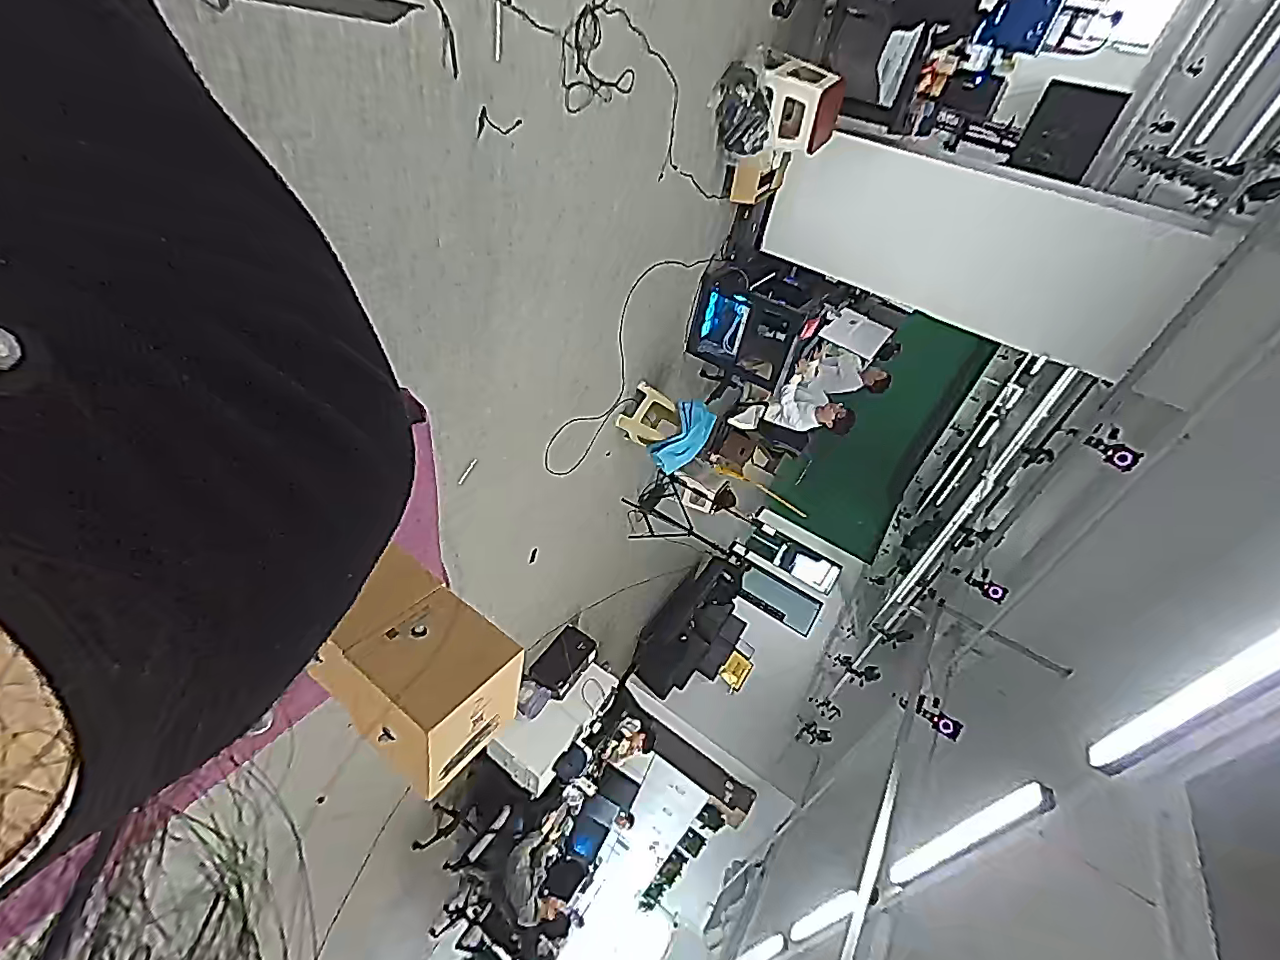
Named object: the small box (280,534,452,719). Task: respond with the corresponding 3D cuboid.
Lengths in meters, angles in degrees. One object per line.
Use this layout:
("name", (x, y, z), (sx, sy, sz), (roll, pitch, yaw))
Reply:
("small box", (-0.413, 0.216, 0.831), (0.168, 0.176, 0.179), (-37, 149, -47))
